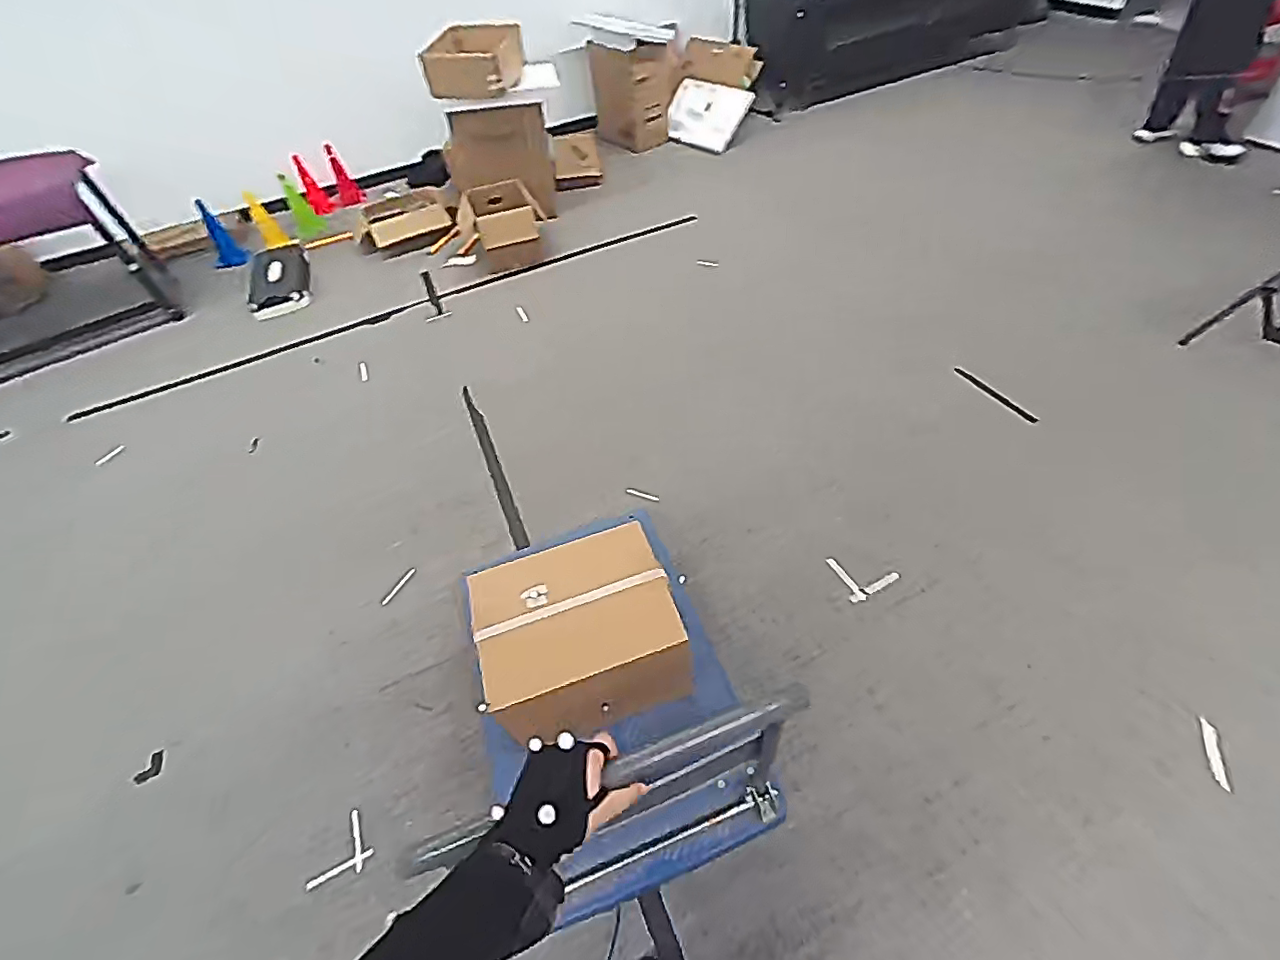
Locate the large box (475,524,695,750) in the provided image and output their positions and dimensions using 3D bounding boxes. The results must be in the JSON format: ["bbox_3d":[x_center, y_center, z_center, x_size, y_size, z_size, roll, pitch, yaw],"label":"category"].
[{"bbox_3d":[-0.117,0.364,1.251,0.408,0.320,0.320,-19,50,-7],"label":"large box"}]
